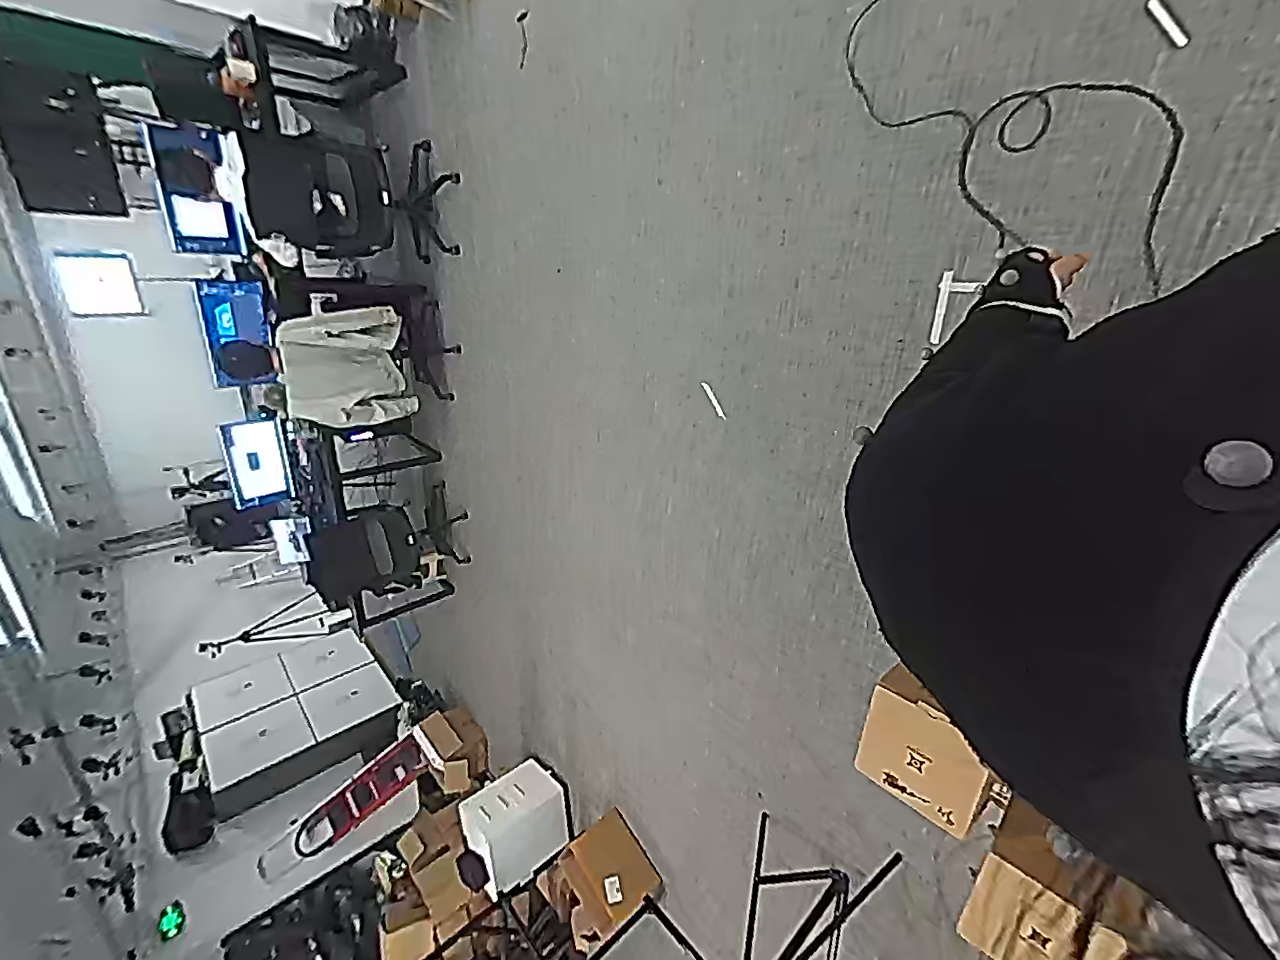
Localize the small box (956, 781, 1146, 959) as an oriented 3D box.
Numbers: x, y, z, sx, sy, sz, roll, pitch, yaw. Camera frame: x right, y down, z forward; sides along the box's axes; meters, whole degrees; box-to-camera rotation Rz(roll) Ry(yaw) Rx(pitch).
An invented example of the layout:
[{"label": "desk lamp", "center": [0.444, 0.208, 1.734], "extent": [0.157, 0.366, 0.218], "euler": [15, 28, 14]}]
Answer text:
[{"label": "small box", "center": [0.585, 0.584, 0.770], "extent": [0.168, 0.176, 0.179], "euler": [22, 116, 40]}]

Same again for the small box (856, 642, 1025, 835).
[{"label": "small box", "center": [0.466, 0.383, 0.839], "extent": [0.168, 0.176, 0.179], "euler": [24, 117, 43]}]
